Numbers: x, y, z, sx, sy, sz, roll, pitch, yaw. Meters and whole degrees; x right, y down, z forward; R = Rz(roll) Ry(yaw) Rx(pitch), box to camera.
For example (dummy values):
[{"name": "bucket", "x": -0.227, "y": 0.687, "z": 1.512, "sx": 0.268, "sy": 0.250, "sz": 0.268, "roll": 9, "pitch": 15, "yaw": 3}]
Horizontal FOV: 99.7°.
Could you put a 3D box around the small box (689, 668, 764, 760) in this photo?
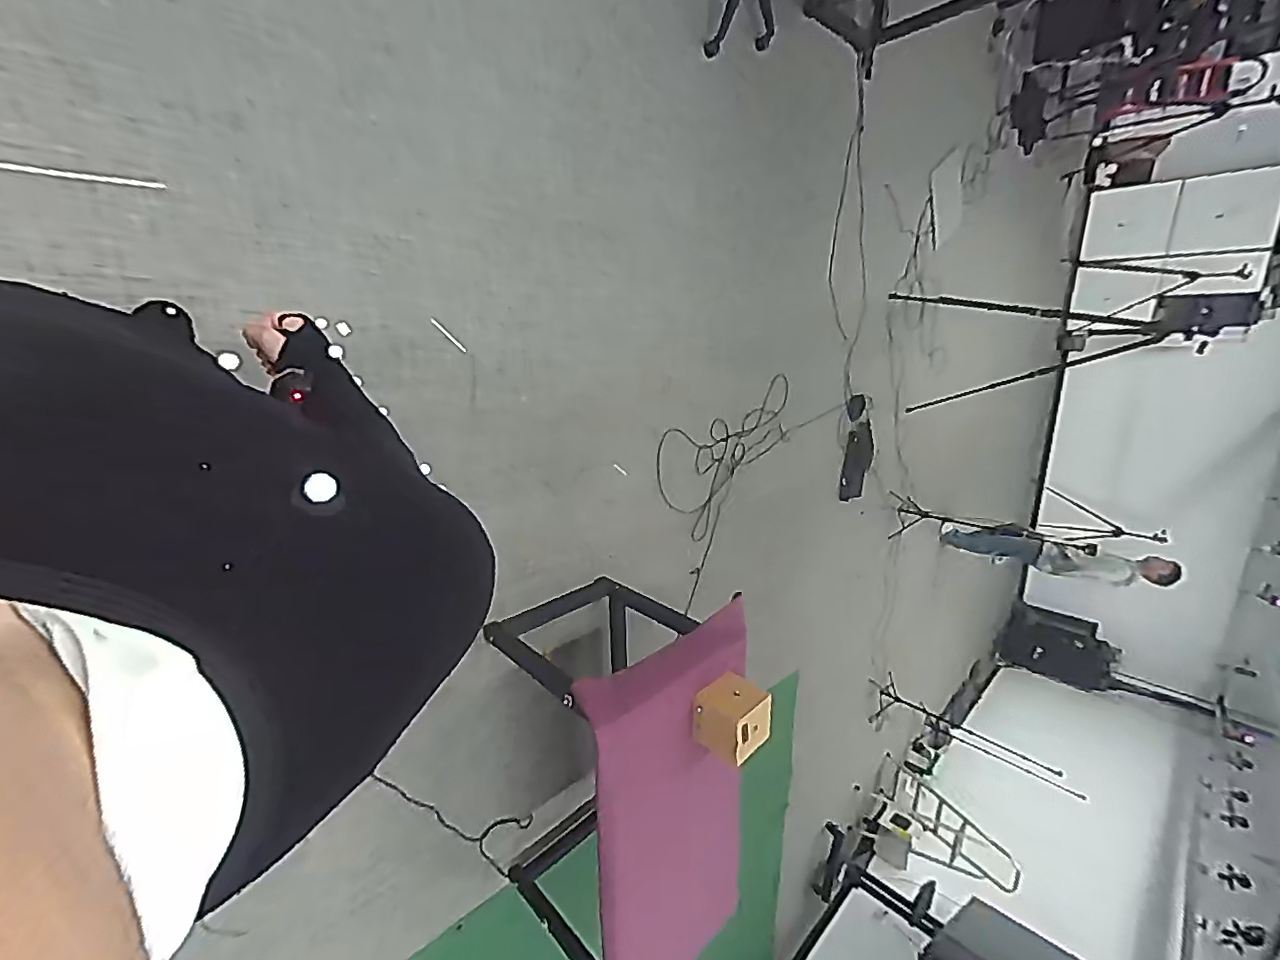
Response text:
[{"name": "small box", "x": 0.268, "y": 0.722, "z": 1.689, "sx": 0.179, "sy": 0.176, "sz": 0.168, "roll": -17, "pitch": 113, "yaw": -42}]
